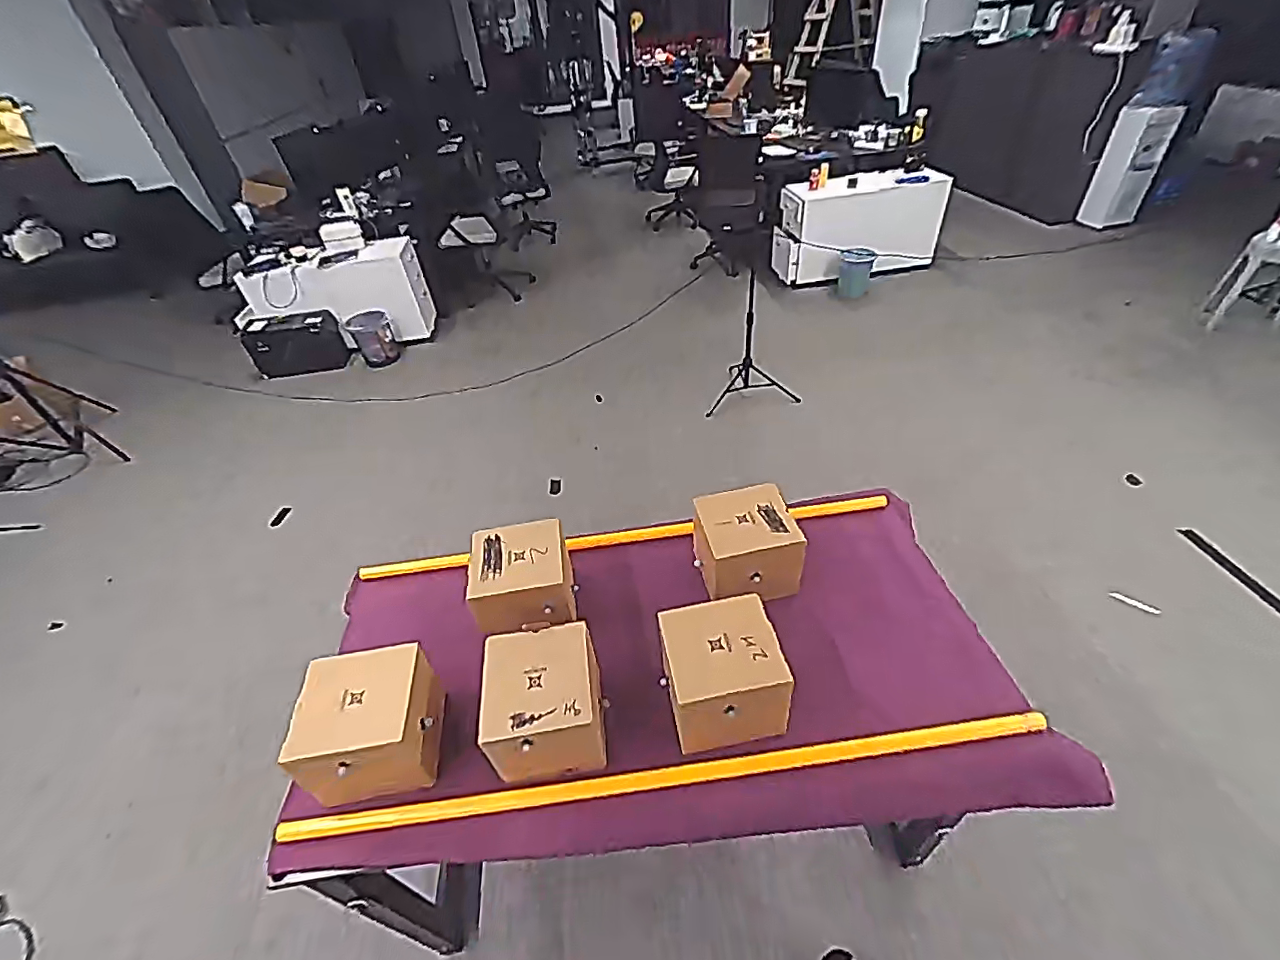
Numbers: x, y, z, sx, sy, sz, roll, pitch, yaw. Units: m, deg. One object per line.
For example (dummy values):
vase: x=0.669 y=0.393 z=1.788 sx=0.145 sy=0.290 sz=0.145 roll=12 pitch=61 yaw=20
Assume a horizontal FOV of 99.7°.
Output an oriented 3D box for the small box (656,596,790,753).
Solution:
small box: x=0.130 y=0.320 z=0.883 sx=0.179 sy=0.176 sz=0.168 roll=-10 pitch=40 yaw=-4

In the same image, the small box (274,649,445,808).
small box: x=-0.431 y=0.400 z=0.870 sx=0.179 sy=0.176 sz=0.168 roll=-9 pitch=41 yaw=-3

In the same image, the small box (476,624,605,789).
small box: x=-0.153 y=0.365 z=0.873 sx=0.168 sy=0.176 sz=0.179 roll=-10 pitch=41 yaw=-2

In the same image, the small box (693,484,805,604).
small box: x=0.209 y=0.137 z=1.082 sx=0.179 sy=0.176 sz=0.168 roll=-12 pitch=42 yaw=-4
